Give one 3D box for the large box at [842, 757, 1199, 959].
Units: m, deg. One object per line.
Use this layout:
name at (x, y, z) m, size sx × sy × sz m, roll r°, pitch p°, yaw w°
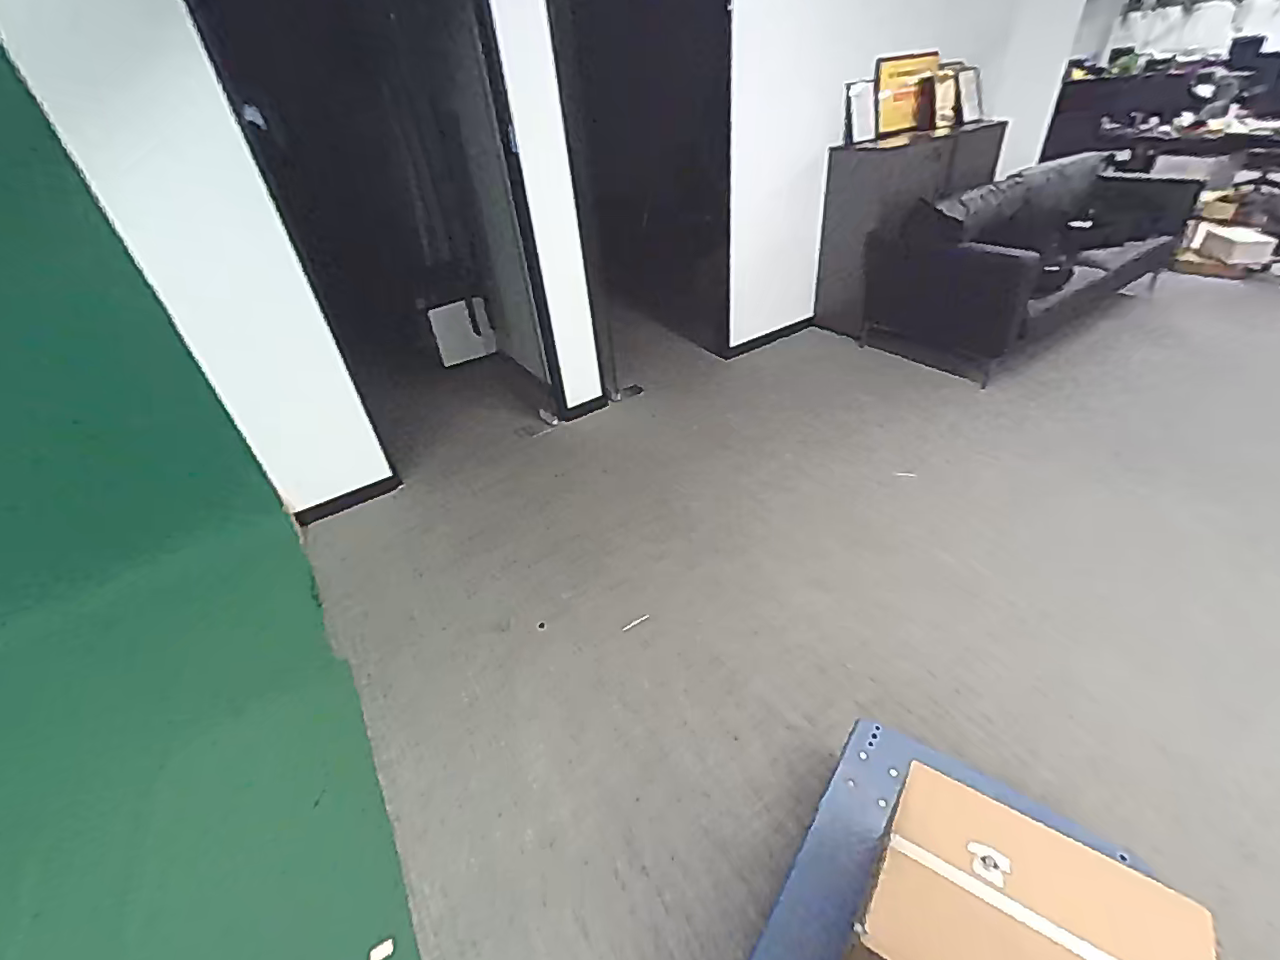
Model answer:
large box at (0.589, 0.758, 0.889) m, size 0.408 × 0.320 × 0.320 m, roll 17°, pitch 43°, yaw 31°
